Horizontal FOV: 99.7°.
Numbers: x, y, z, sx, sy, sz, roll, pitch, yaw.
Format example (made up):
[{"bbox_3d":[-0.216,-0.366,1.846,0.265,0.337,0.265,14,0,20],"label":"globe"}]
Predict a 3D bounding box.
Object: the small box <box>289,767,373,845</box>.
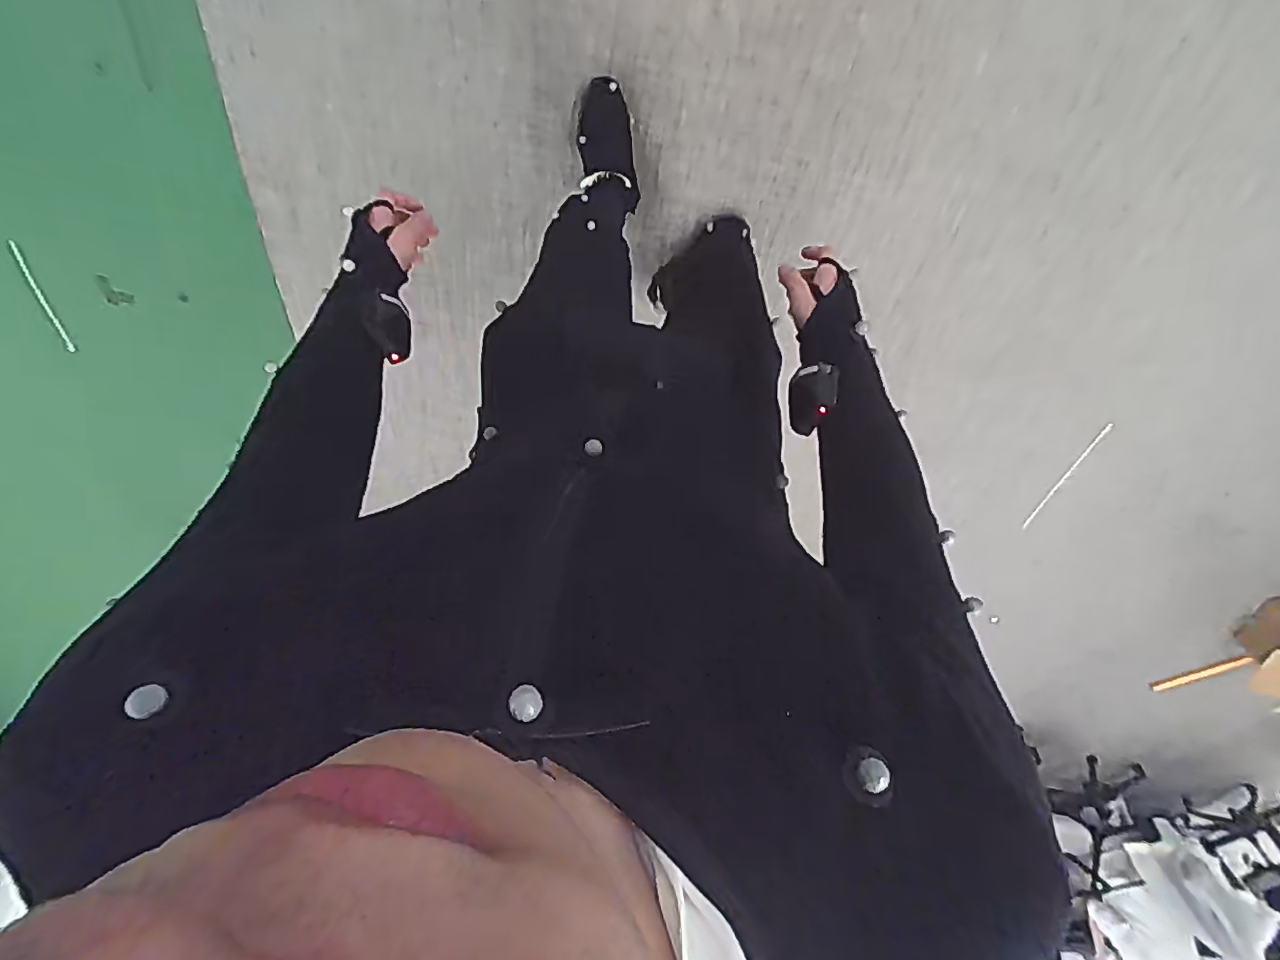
[{"bbox_3d":[-0.959,1.024,1.697,0.168,0.176,0.179,7,133,-8],"label":"small box"}]
